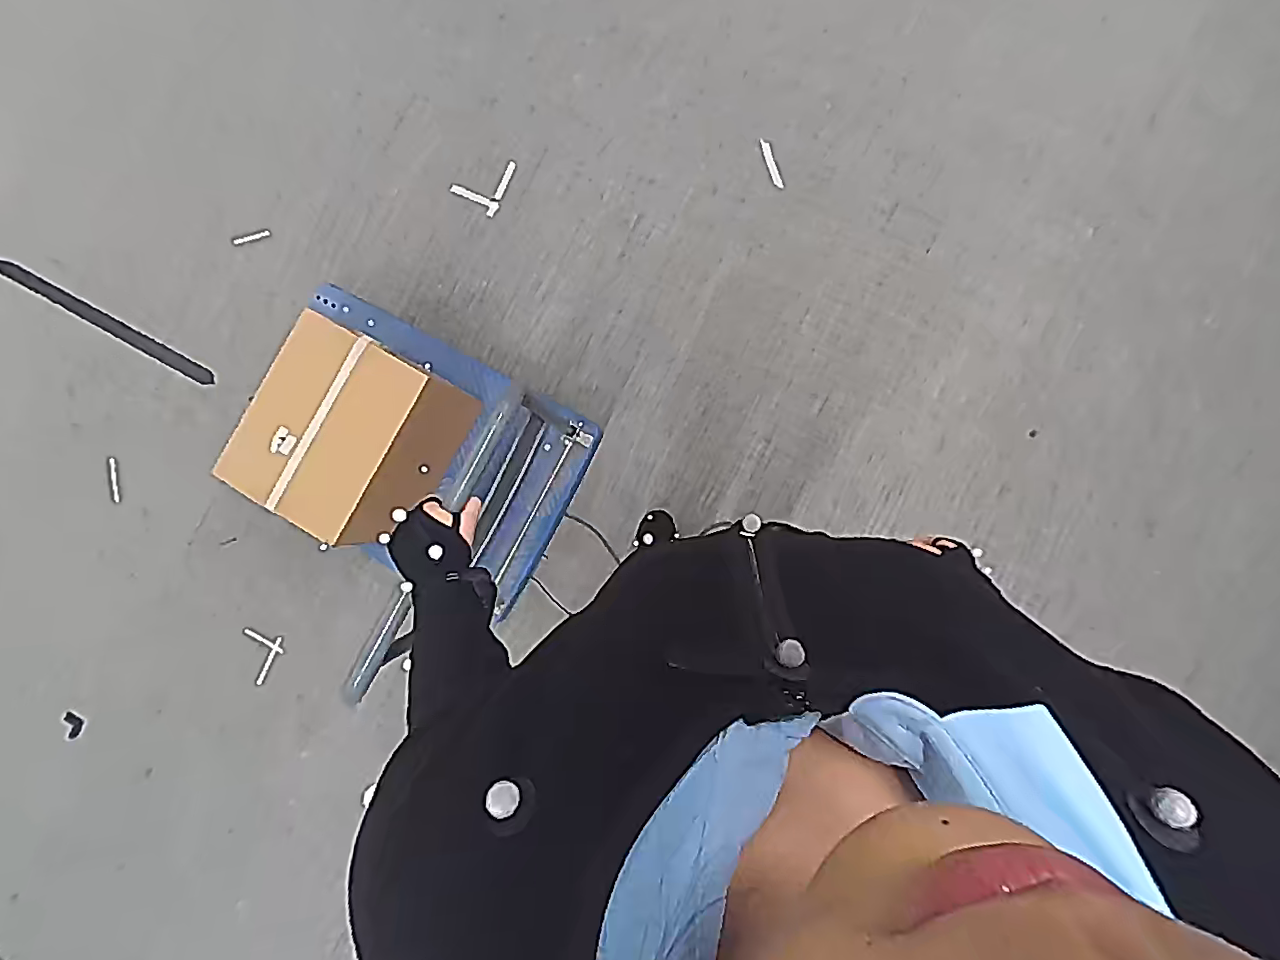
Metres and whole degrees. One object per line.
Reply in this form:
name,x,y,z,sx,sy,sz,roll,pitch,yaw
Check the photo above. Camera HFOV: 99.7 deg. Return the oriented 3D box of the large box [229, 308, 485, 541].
large box,-0.634,-0.116,1.274,0.320,0.320,0.408,30,91,7
